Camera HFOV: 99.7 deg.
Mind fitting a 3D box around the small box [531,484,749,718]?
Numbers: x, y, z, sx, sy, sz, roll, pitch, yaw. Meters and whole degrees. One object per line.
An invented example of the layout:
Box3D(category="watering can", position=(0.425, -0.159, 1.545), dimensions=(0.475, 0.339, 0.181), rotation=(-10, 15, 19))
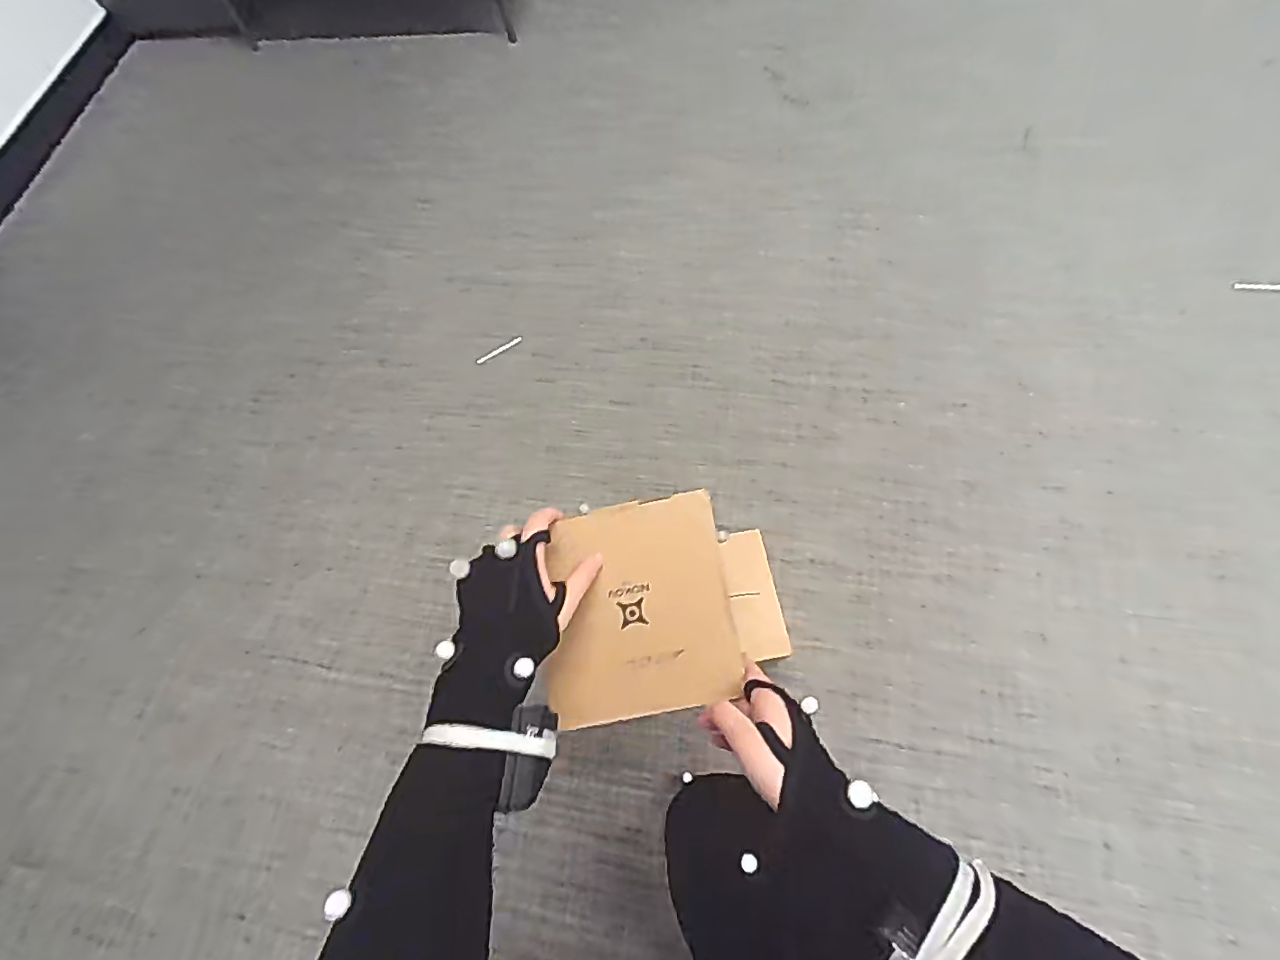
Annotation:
Box3D(category="small box", position=(0.002, 0.112, 0.538), dimensions=(0.168, 0.176, 0.179), rotation=(-11, 83, 3))

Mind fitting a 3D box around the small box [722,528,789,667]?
Box3D(category="small box", position=(0.098, 0.184, 0.769), dimensions=(0.179, 0.176, 0.168), rotation=(-12, 67, 2))
